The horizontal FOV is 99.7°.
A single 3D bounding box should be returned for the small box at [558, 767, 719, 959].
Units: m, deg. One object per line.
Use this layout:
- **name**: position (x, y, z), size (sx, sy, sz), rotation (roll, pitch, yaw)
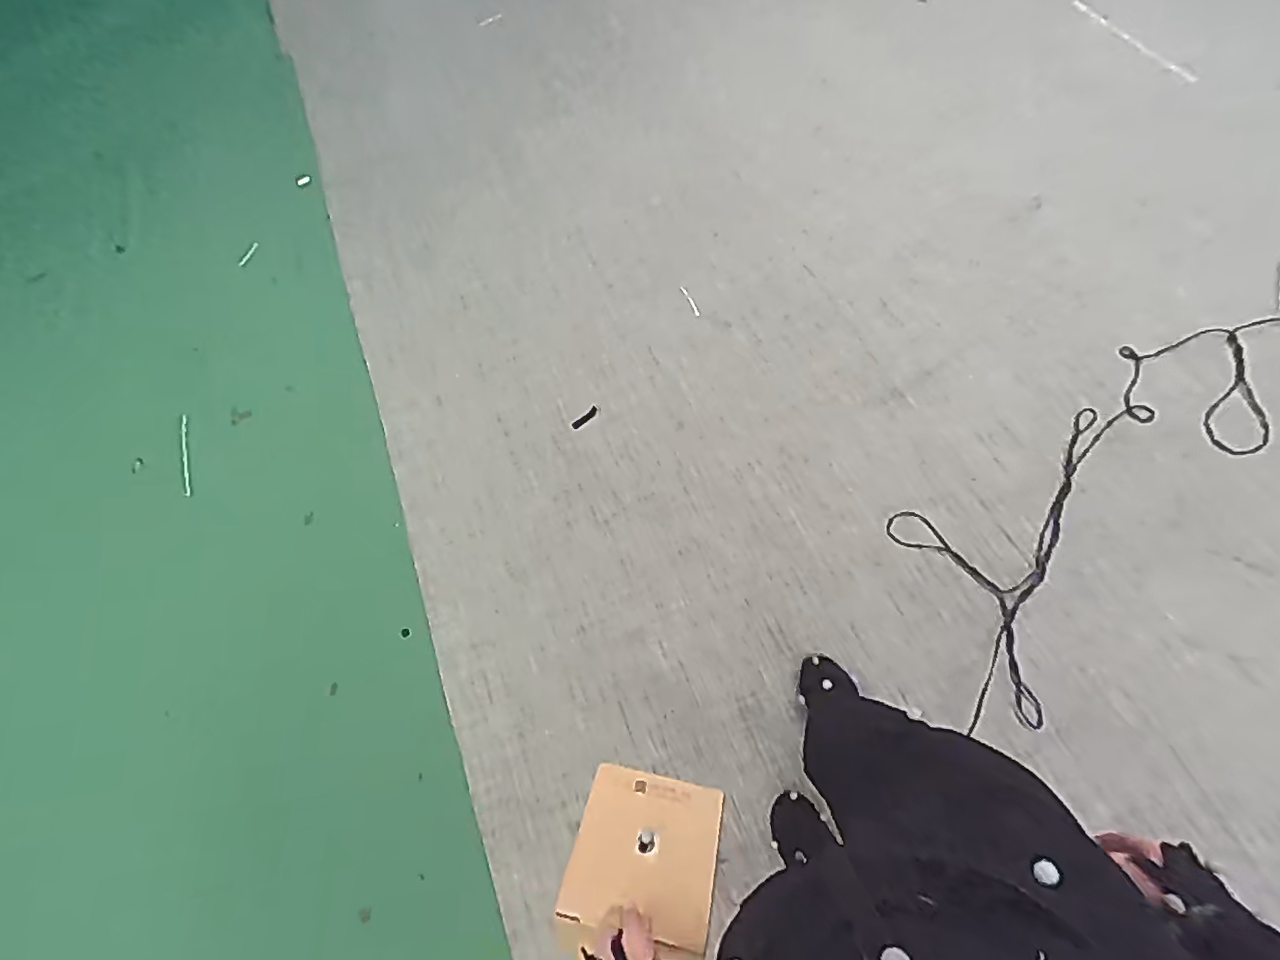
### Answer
- **small box**: position (0.006, 0.491, 0.678), size (0.168, 0.179, 0.176), rotation (7, 38, 10)
